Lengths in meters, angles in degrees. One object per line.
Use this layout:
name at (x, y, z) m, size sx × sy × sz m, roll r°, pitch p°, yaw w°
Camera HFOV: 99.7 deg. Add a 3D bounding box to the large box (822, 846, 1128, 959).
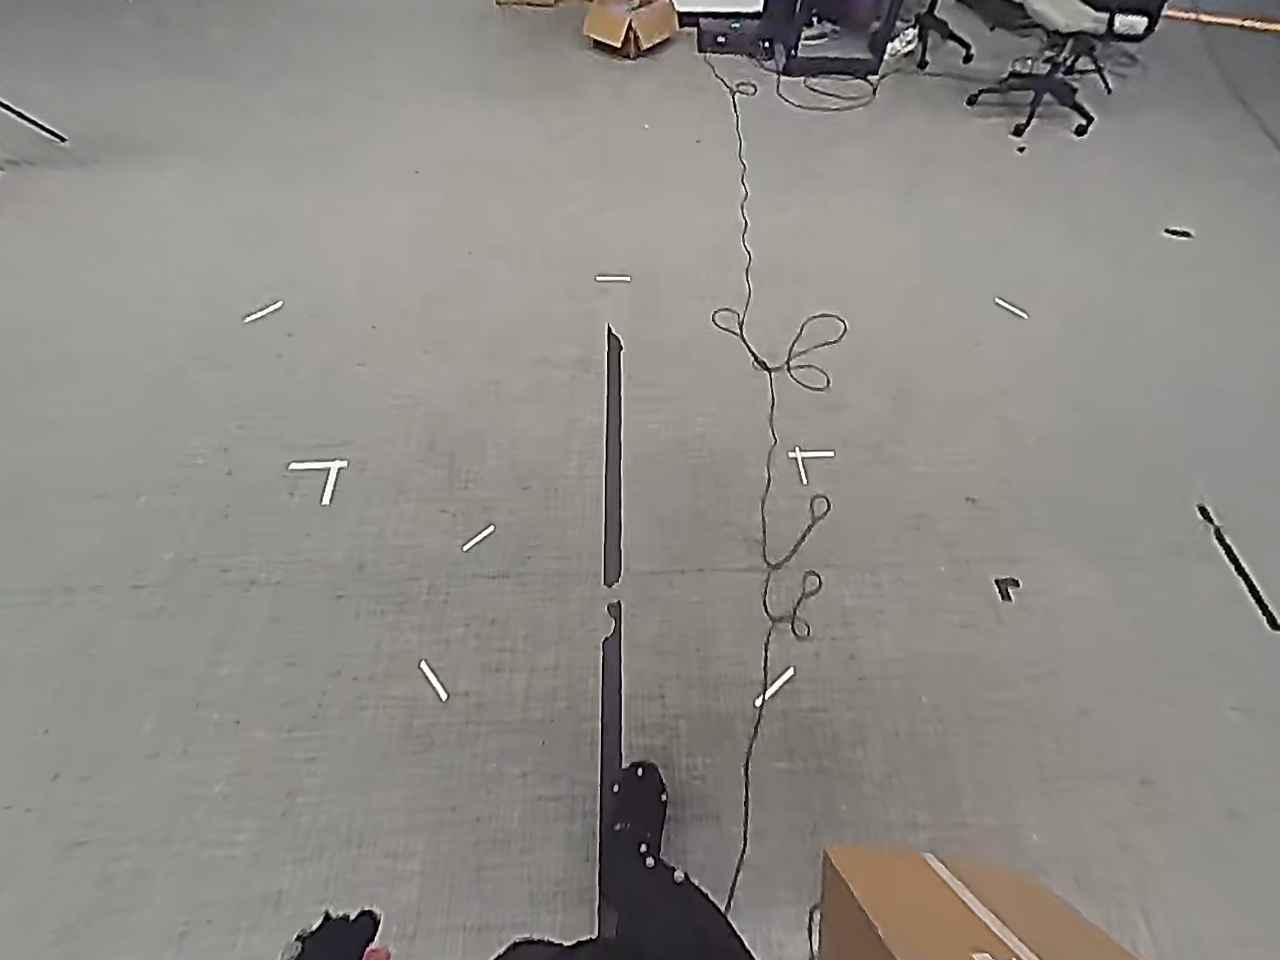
large box at (0.422, 0.704, 0.616) m, size 0.320 × 0.408 × 0.320 m, roll 7°, pitch 80°, yaw 2°
